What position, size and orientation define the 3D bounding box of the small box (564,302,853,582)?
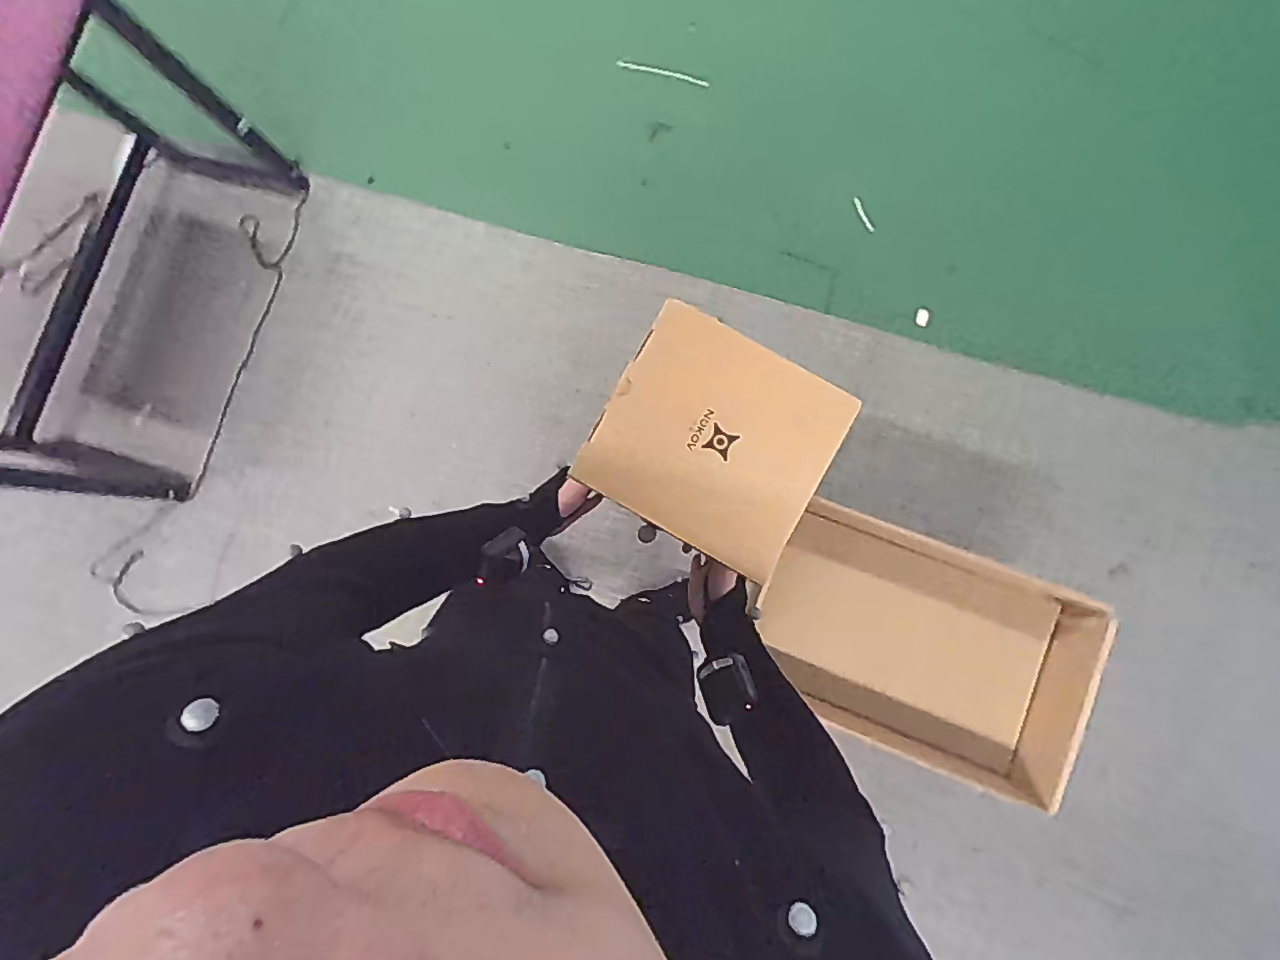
[{"bbox_3d":[0.055,-0.029,0.501,0.179,0.176,0.168,28,88,2],"label":"small box"}]
